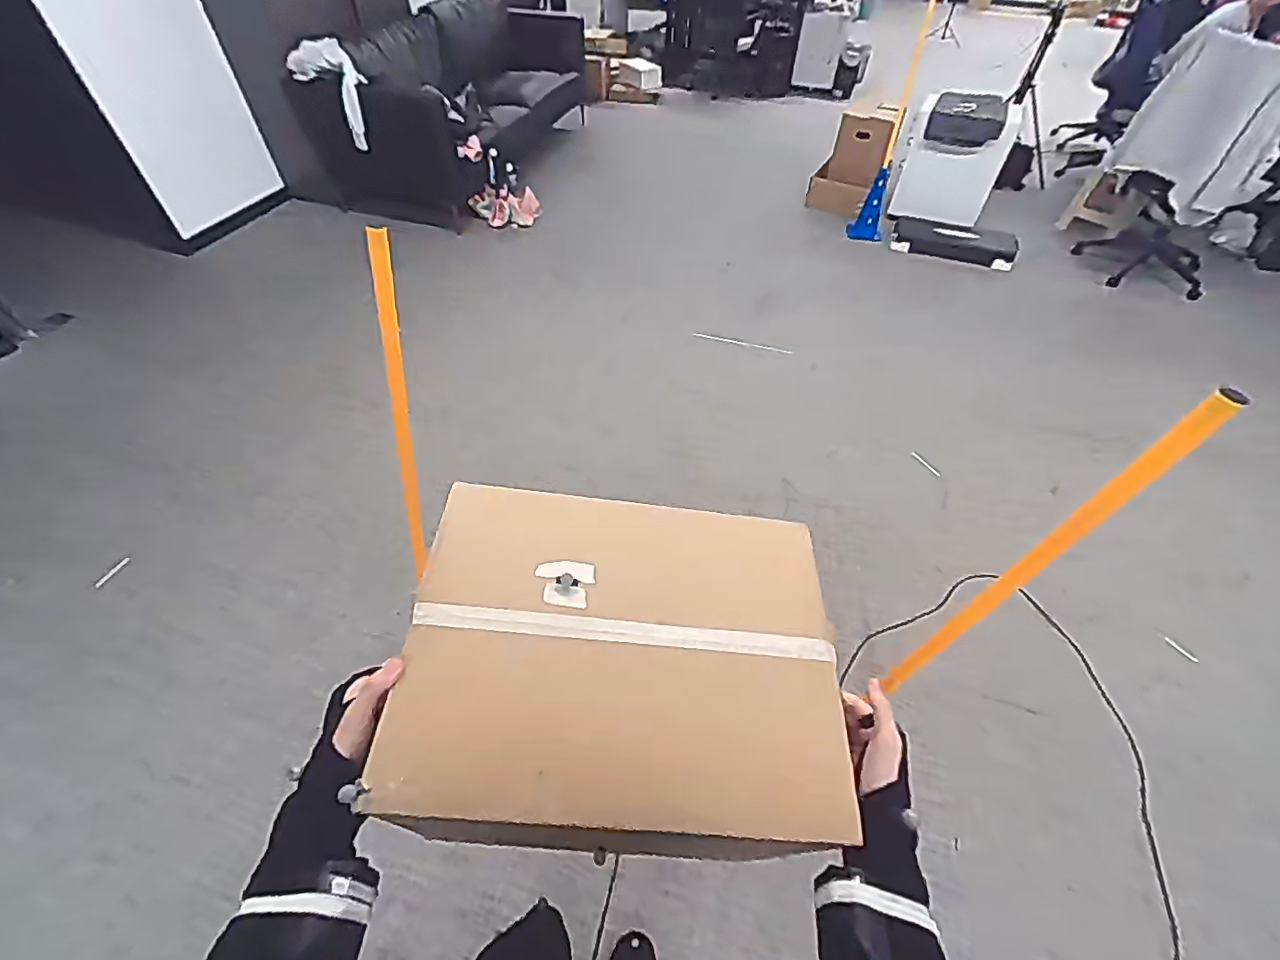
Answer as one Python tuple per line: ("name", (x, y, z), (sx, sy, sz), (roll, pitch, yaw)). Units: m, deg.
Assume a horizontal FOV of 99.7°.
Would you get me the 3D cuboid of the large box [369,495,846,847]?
("large box", (-0.032, 0.246, 0.650), (0.408, 0.320, 0.320), (7, 52, -5))
